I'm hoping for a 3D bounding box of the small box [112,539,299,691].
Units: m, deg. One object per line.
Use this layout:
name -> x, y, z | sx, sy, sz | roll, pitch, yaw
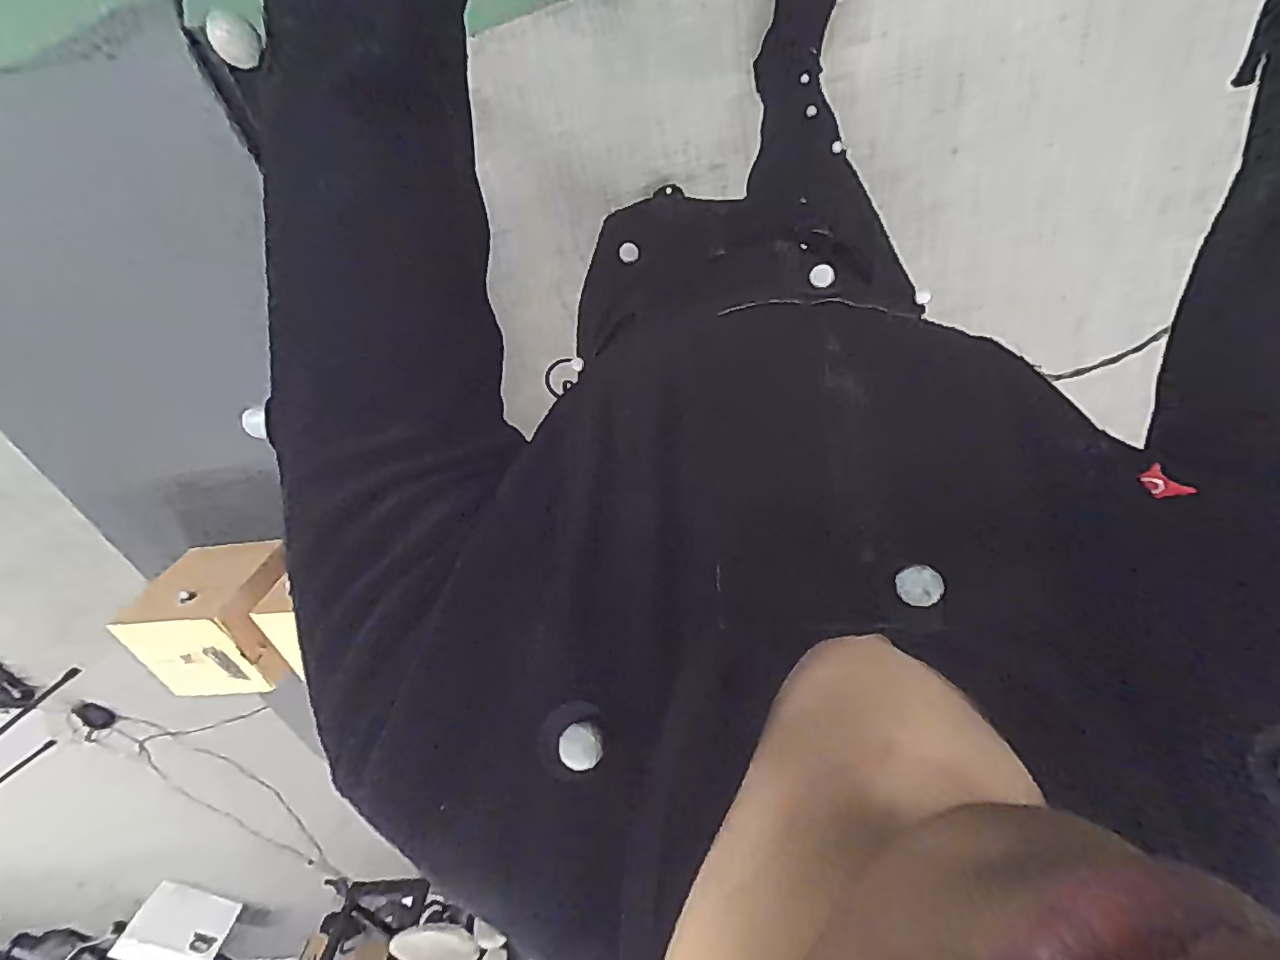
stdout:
small box -> -0.646, 0.209, 0.860 | 0.179, 0.176, 0.168 | -6, 124, 8
